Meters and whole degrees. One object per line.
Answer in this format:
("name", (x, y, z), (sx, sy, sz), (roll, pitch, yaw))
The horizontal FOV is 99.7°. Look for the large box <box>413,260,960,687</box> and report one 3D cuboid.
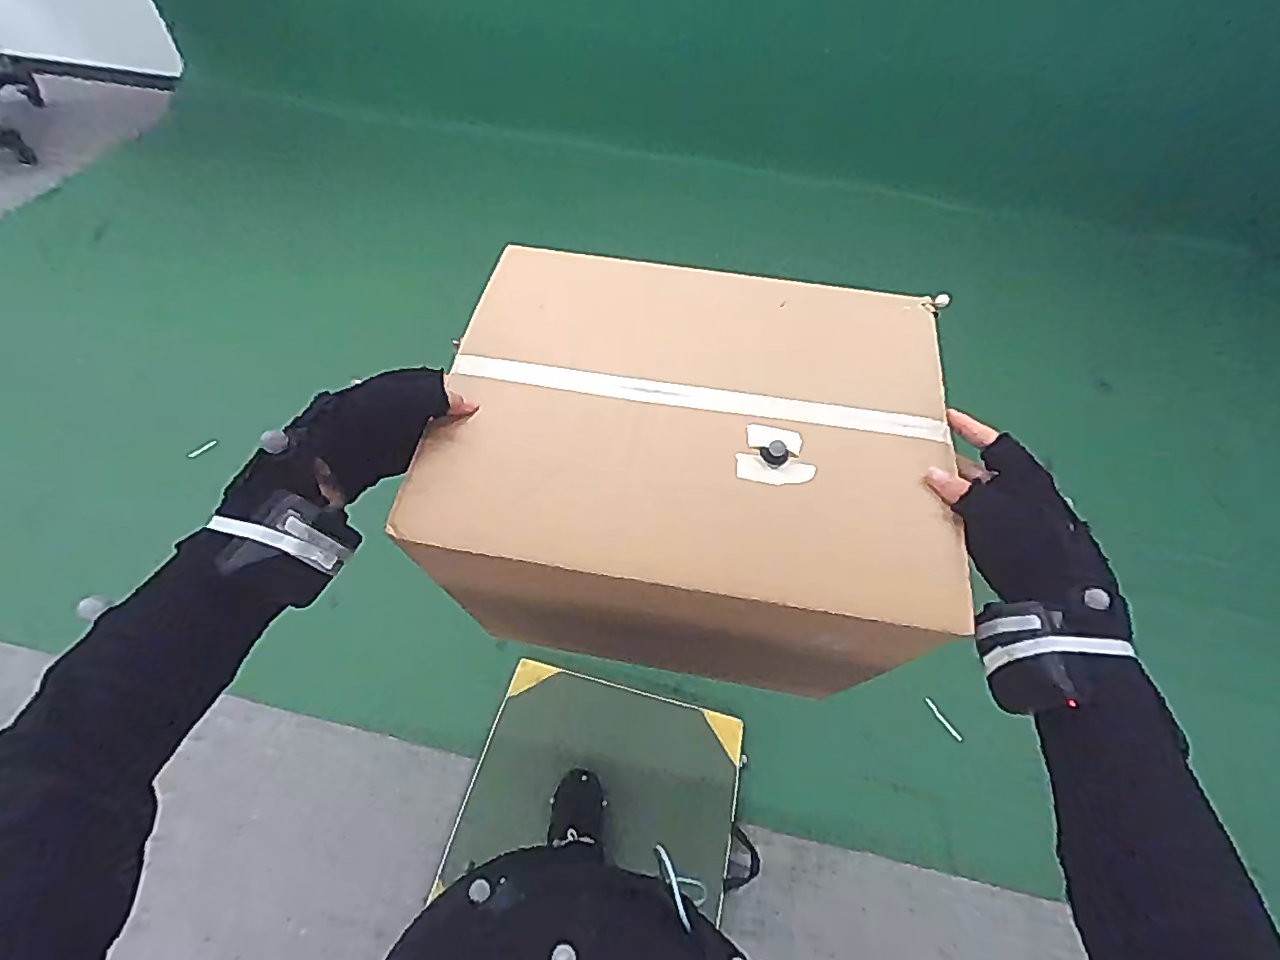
("large box", (0.045, 0.011, 0.586), (0.408, 0.320, 0.320), (9, 61, 3))
